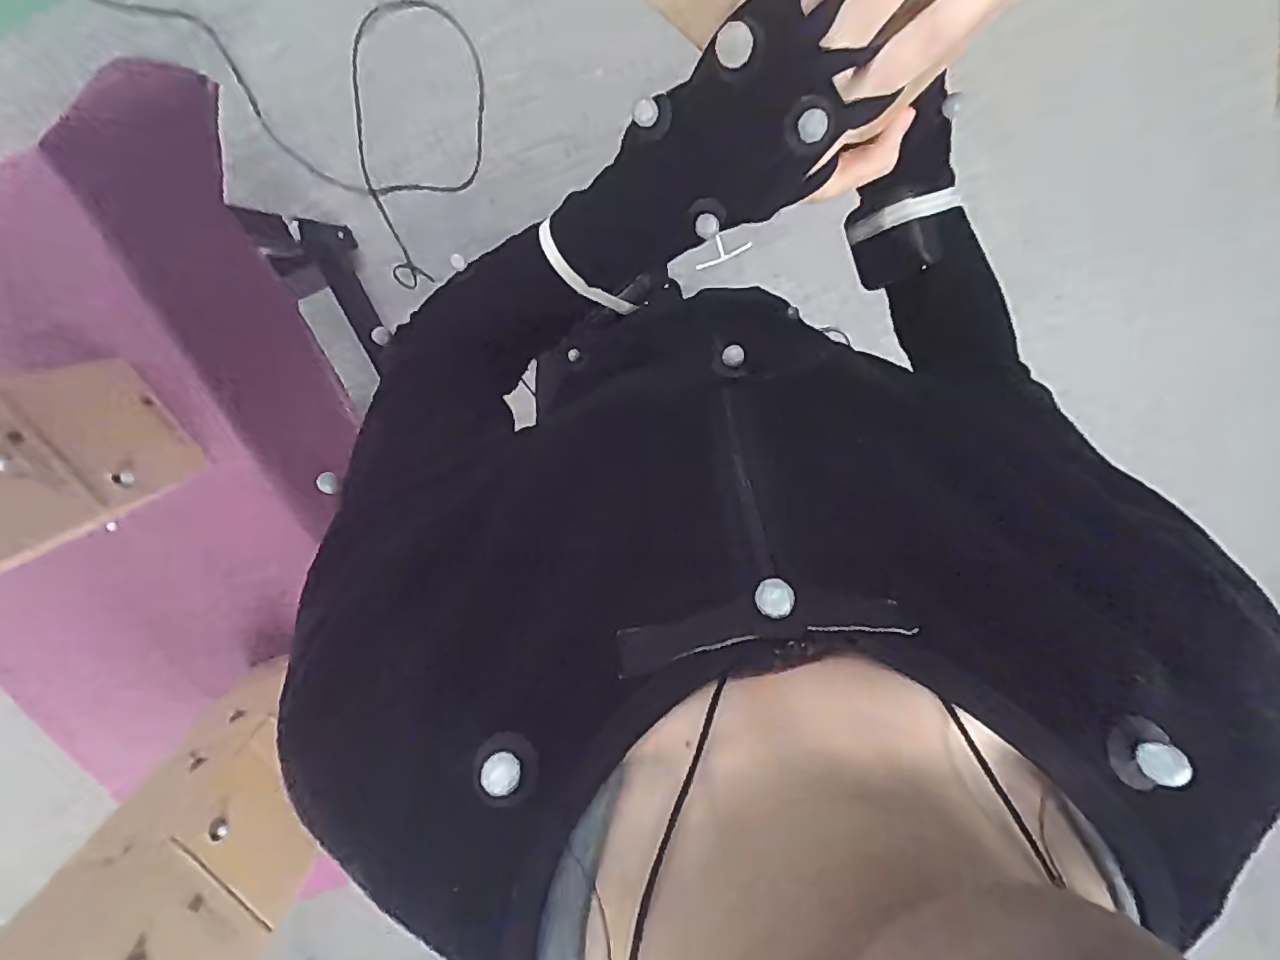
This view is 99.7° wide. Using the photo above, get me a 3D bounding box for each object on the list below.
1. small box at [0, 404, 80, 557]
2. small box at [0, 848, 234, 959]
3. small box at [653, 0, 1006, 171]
[{"bbox_3d":[-0.704,0.025,0.496,0.179,0.176,0.168,-24,110,8],"label":"small box"},{"bbox_3d":[-0.530,0.484,0.500,0.179,0.176,0.168,-20,108,8],"label":"small box"},{"bbox_3d":[0.103,-0.296,0.237,0.176,0.168,0.179,34,62,-15],"label":"small box"}]
